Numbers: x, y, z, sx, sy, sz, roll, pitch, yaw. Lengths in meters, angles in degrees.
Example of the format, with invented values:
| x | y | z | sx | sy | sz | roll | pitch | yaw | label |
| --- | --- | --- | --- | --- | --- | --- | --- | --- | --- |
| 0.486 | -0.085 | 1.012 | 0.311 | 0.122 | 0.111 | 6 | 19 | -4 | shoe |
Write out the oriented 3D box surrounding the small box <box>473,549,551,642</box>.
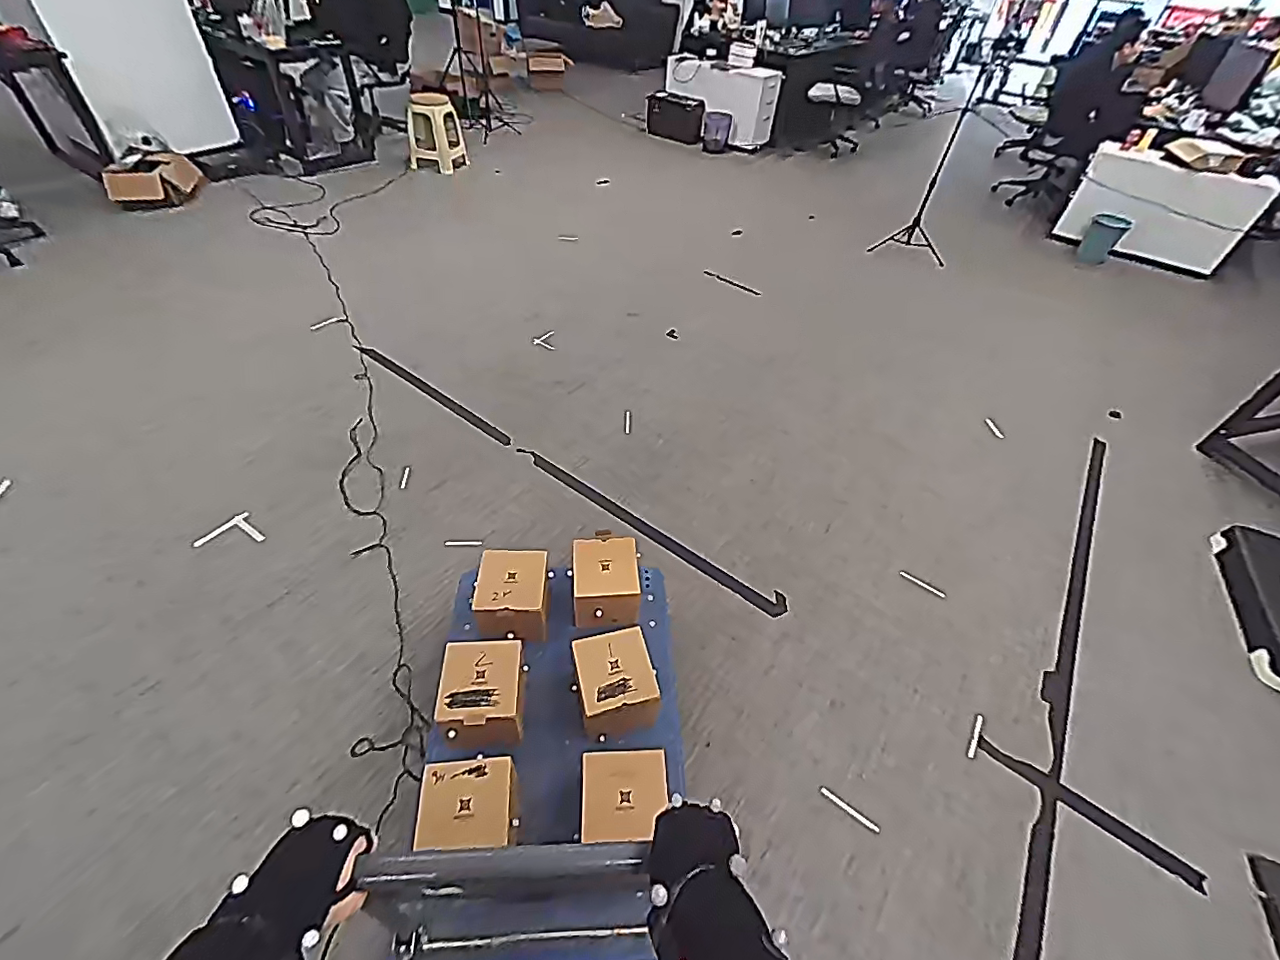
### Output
| x | y | z | sx | sy | sz | roll | pitch | yaw | label |
| --- | --- | --- | --- | --- | --- | --- | --- | --- | --- |
| -0.323 | 0.300 | 1.399 | 0.168 | 0.176 | 0.179 | 1 | 47 | -4 | small box |

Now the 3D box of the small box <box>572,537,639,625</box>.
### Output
| x | y | z | sx | sy | sz | roll | pitch | yaw | label |
| --- | --- | --- | --- | --- | --- | --- | --- | --- | --- |
| -0.094 | 0.275 | 1.446 | 0.168 | 0.176 | 0.179 | -2 | 47 | -7 | small box |

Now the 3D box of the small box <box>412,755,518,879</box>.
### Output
| x | y | z | sx | sy | sz | roll | pitch | yaw | label |
| --- | --- | --- | --- | --- | --- | --- | --- | --- | --- |
| -0.329 | 0.662 | 1.057 | 0.168 | 0.176 | 0.179 | -2 | 47 | -8 | small box |

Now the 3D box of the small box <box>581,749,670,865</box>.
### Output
| x | y | z | sx | sy | sz | roll | pitch | yaw | label |
| --- | --- | --- | --- | --- | --- | --- | --- | --- | --- |
| -0.032 | 0.661 | 1.089 | 0.168 | 0.176 | 0.179 | 1 | 47 | -5 | small box |

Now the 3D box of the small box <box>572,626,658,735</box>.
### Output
| x | y | z | sx | sy | sz | roll | pitch | yaw | label |
| --- | --- | --- | --- | --- | --- | --- | --- | --- | --- |
| -0.062 | 0.473 | 1.262 | 0.168 | 0.176 | 0.179 | -9 | 47 | -13 | small box |
